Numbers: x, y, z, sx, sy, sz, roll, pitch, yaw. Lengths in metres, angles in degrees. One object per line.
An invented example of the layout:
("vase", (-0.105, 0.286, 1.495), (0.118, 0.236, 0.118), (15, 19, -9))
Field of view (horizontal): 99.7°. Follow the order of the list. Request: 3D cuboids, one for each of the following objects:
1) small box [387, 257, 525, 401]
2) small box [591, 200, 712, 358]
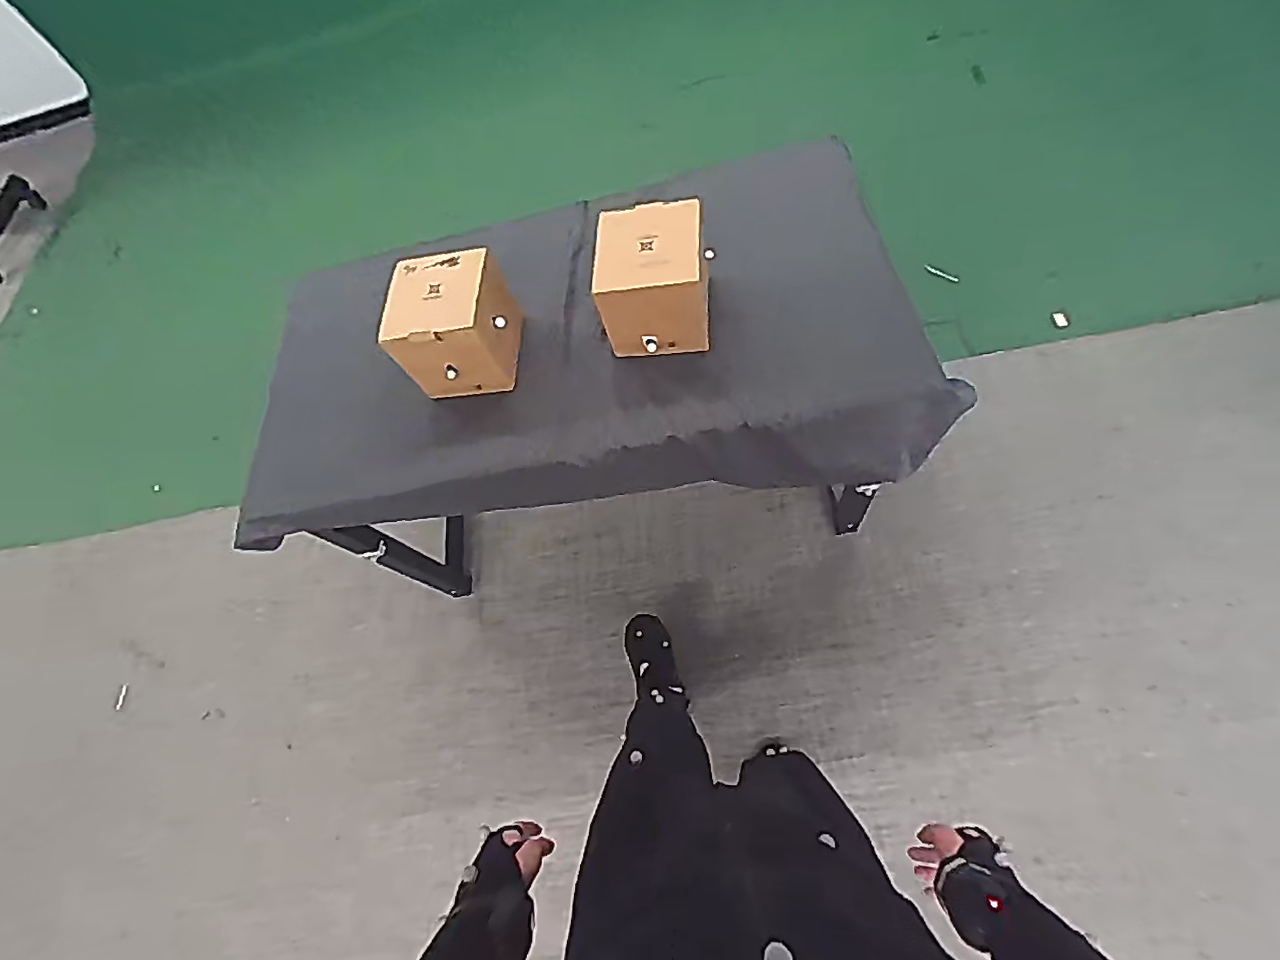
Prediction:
("small box", (-0.314, -0.256, 0.961), (0.168, 0.176, 0.179), (-8, 63, 10))
("small box", (0.028, -0.327, 0.901), (0.168, 0.176, 0.179), (-2, 65, 13))
